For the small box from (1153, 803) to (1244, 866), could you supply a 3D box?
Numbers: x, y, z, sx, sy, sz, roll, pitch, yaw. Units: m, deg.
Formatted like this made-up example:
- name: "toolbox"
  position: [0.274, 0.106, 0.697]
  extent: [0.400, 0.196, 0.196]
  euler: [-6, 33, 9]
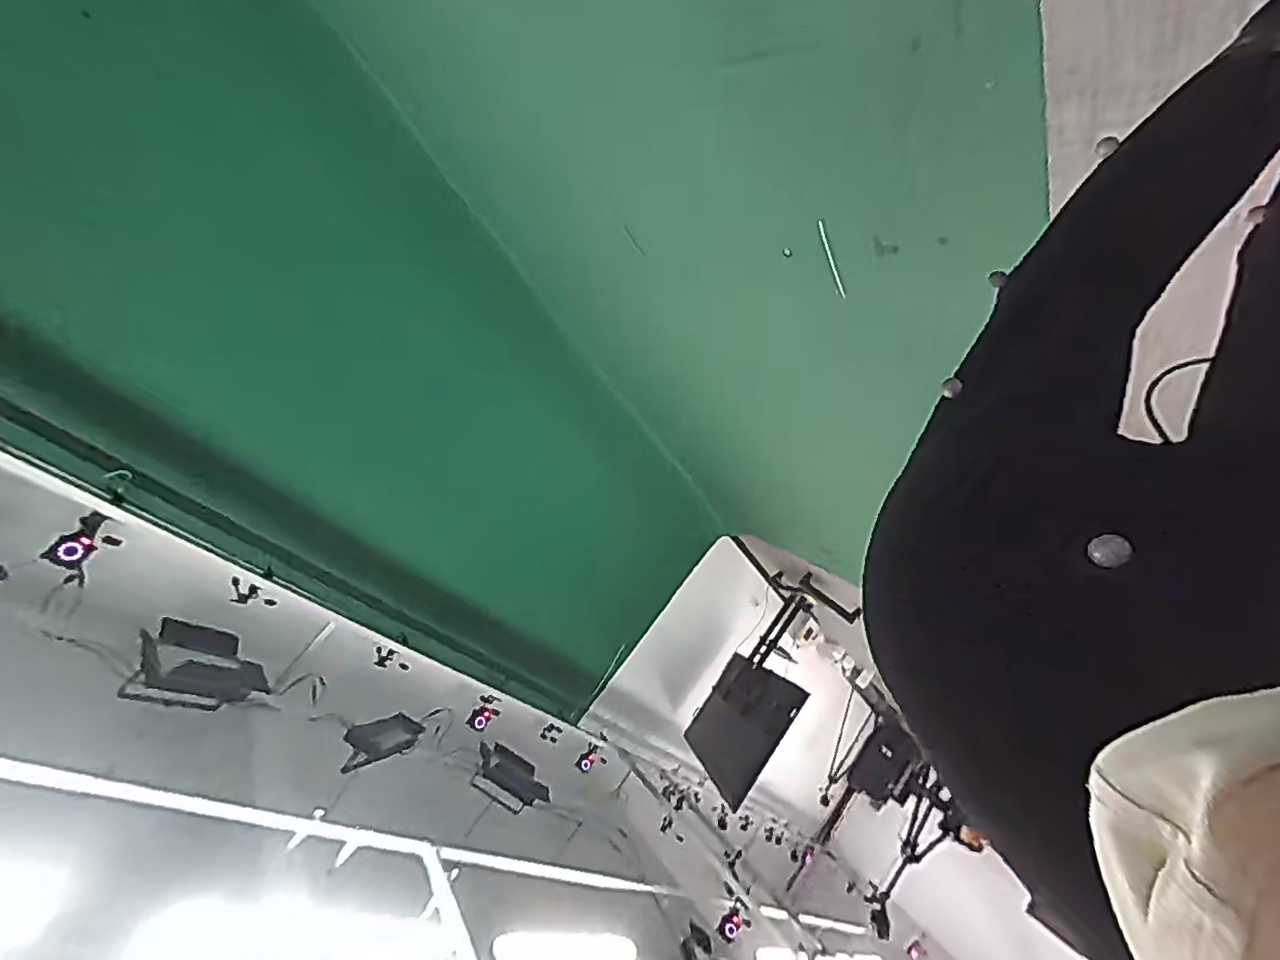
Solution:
- name: "small box"
  position: [1.553, 0.907, 1.479]
  extent: [0.168, 0.176, 0.179]
  euler: [26, 162, 49]
